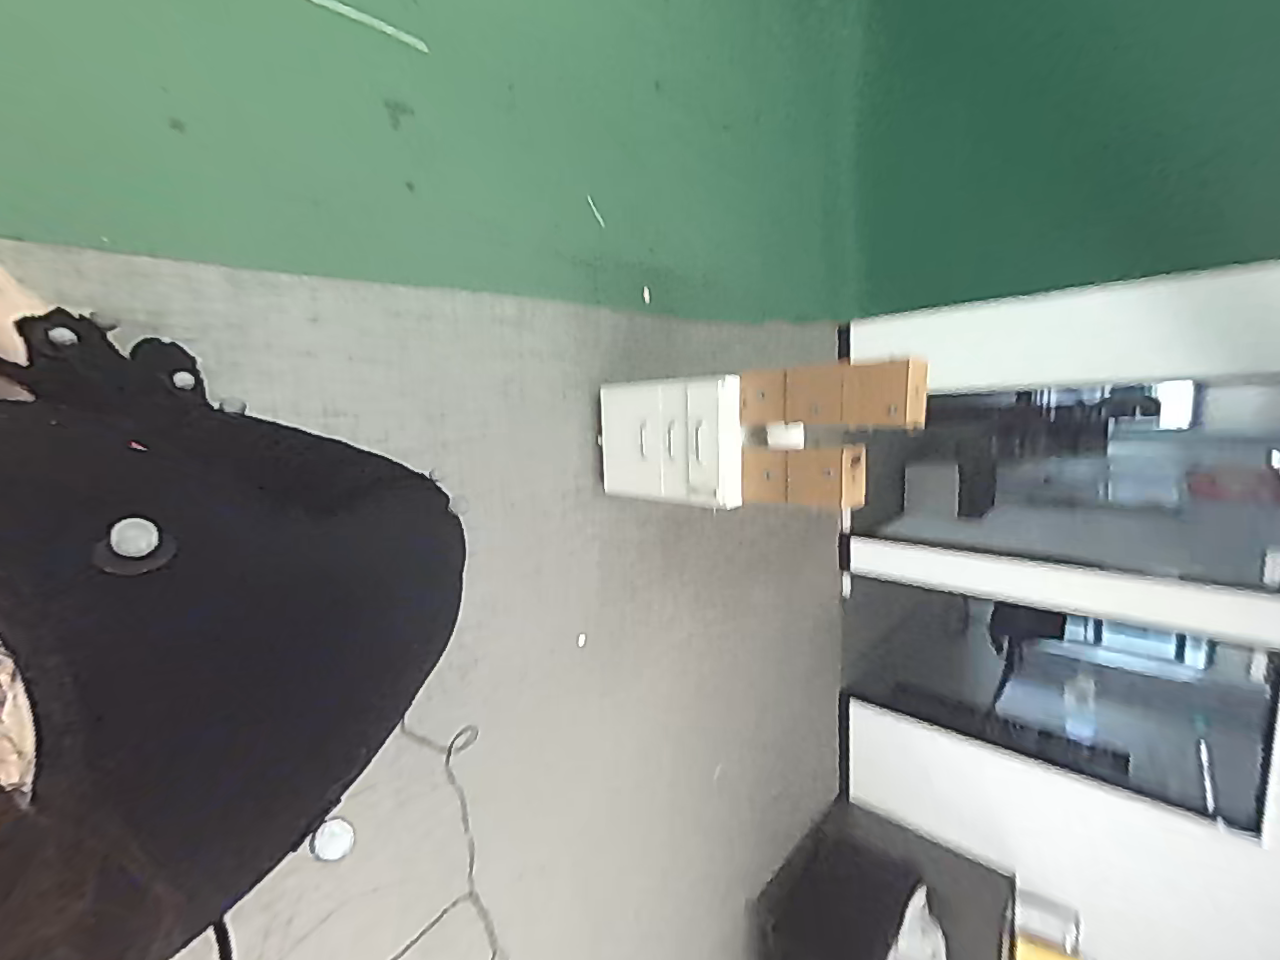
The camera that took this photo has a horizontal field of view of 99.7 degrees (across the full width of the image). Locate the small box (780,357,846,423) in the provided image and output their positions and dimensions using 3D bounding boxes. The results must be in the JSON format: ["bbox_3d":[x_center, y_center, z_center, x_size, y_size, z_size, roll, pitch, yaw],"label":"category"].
[{"bbox_3d":[0.518,-0.259,1.565,0.168,0.176,0.179,-11,103,-47],"label":"small box"}]

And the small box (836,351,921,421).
[{"bbox_3d":[0.642,-0.249,1.460,0.168,0.176,0.179,-8,101,-47],"label":"small box"}]

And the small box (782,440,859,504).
[{"bbox_3d":[0.534,-0.028,1.605,0.168,0.176,0.179,-7,99,-47],"label":"small box"}]

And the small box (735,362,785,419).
[{"bbox_3d":[0.410,-0.275,1.686,0.179,0.176,0.168,-9,103,-47],"label":"small box"}]
